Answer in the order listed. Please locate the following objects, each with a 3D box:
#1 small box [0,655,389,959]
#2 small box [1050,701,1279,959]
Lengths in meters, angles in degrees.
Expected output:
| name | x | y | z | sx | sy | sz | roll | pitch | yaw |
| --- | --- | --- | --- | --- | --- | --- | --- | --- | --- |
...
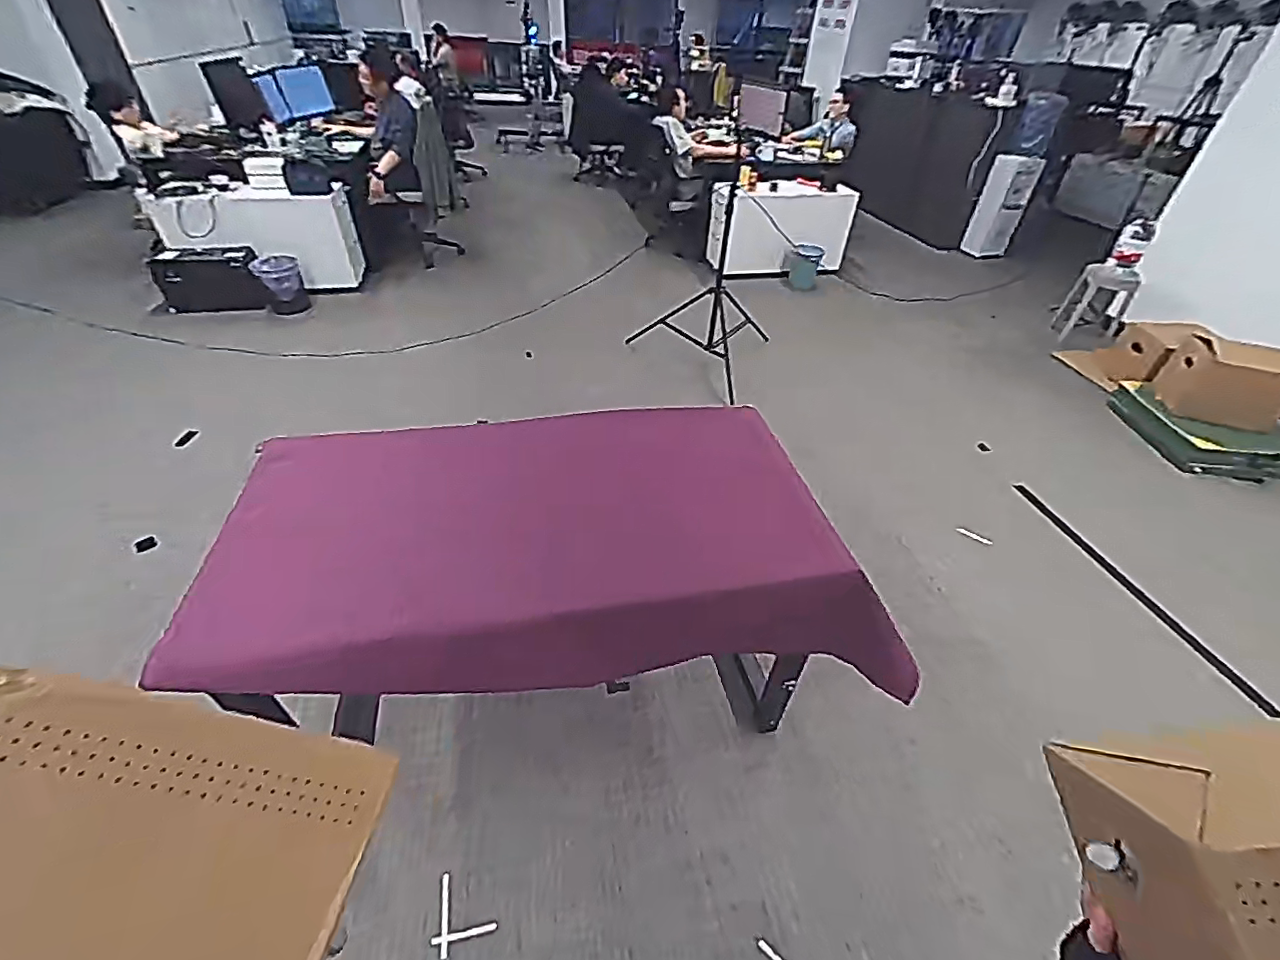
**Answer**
| name | x | y | z | sx | sy | sz | roll | pitch | yaw |
| --- | --- | --- | --- | --- | --- | --- | --- | --- | --- |
| small box | -0.258 | 0.202 | 0.281 | 0.179 | 0.168 | 0.176 | 28 | 55 | -22 |
| small box | 0.346 | 0.220 | 0.269 | 0.168 | 0.179 | 0.176 | -15 | 76 | 15 |
